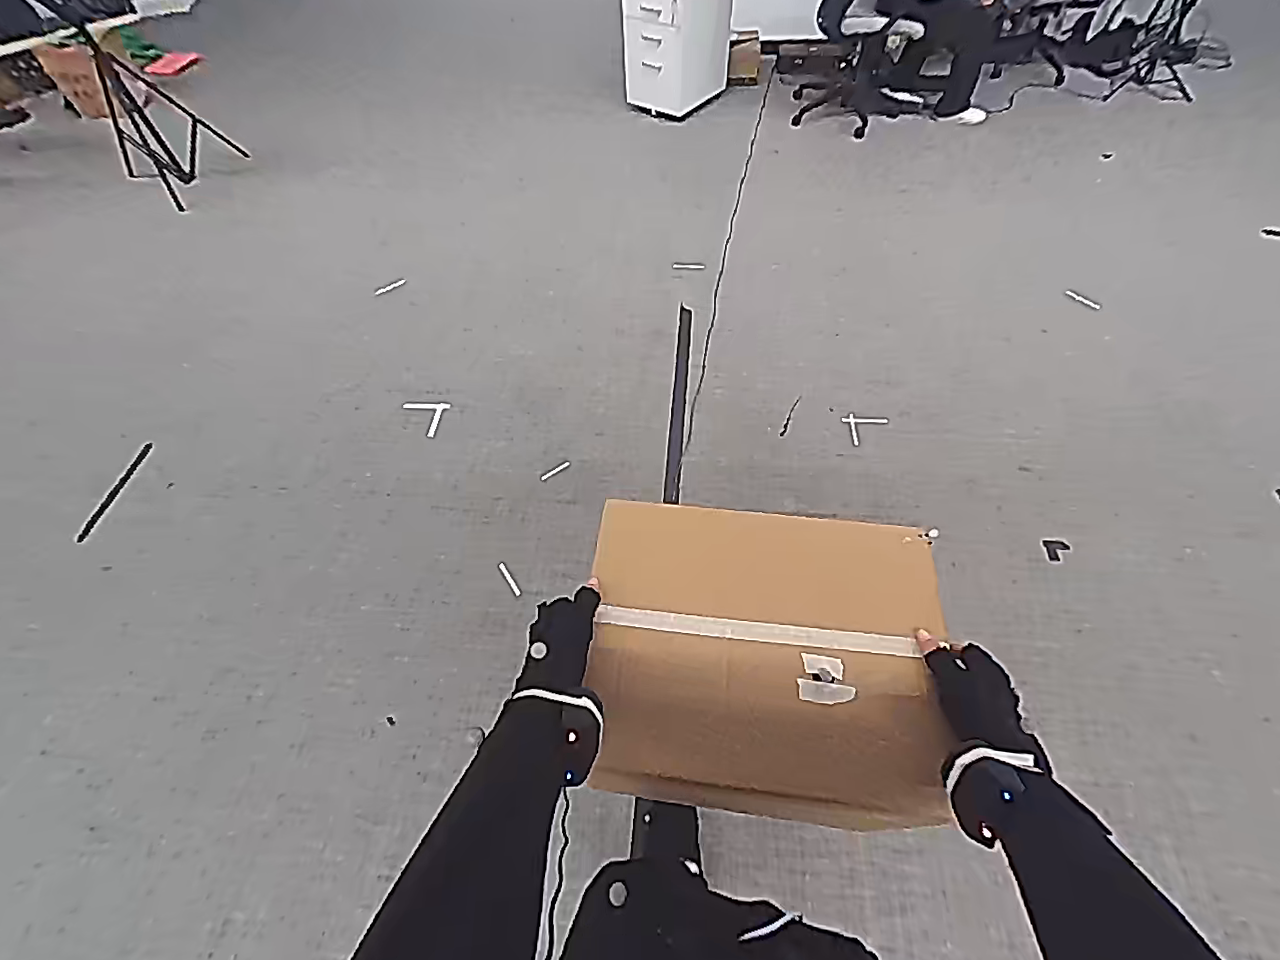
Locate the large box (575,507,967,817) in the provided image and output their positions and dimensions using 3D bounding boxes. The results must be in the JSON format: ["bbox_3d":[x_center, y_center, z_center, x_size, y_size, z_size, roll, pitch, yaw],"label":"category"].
[{"bbox_3d":[0.145,0.260,0.752,0.408,0.320,0.320,5,57,5],"label":"large box"}]
